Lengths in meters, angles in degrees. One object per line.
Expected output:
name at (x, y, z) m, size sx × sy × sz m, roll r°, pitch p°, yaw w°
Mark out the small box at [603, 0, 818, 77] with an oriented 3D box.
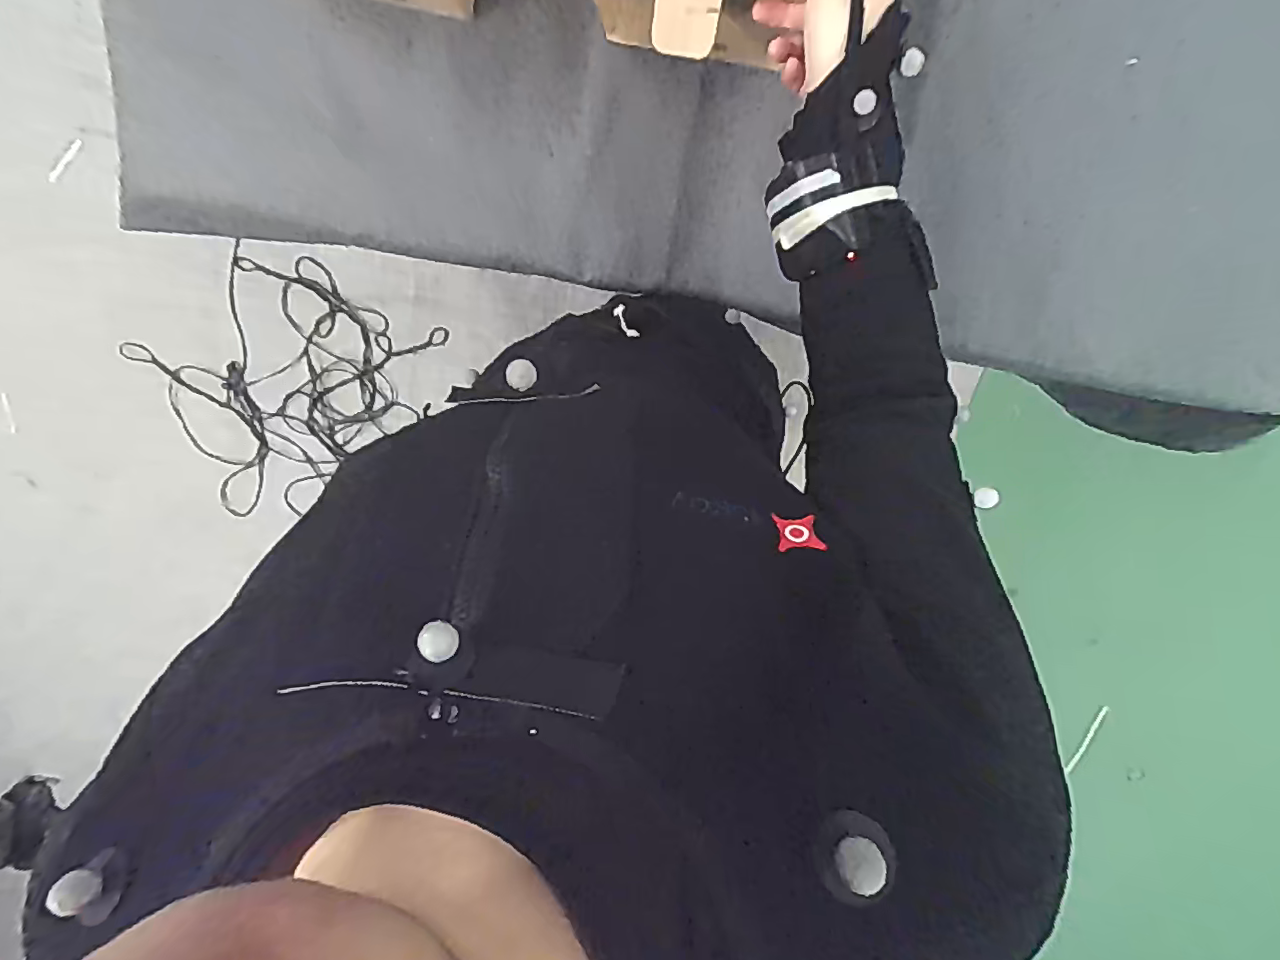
small box at (0.059, -0.431, 0.383) m, size 0.168 × 0.176 × 0.179 m, roll 12°, pitch 110°, yaw 2°
